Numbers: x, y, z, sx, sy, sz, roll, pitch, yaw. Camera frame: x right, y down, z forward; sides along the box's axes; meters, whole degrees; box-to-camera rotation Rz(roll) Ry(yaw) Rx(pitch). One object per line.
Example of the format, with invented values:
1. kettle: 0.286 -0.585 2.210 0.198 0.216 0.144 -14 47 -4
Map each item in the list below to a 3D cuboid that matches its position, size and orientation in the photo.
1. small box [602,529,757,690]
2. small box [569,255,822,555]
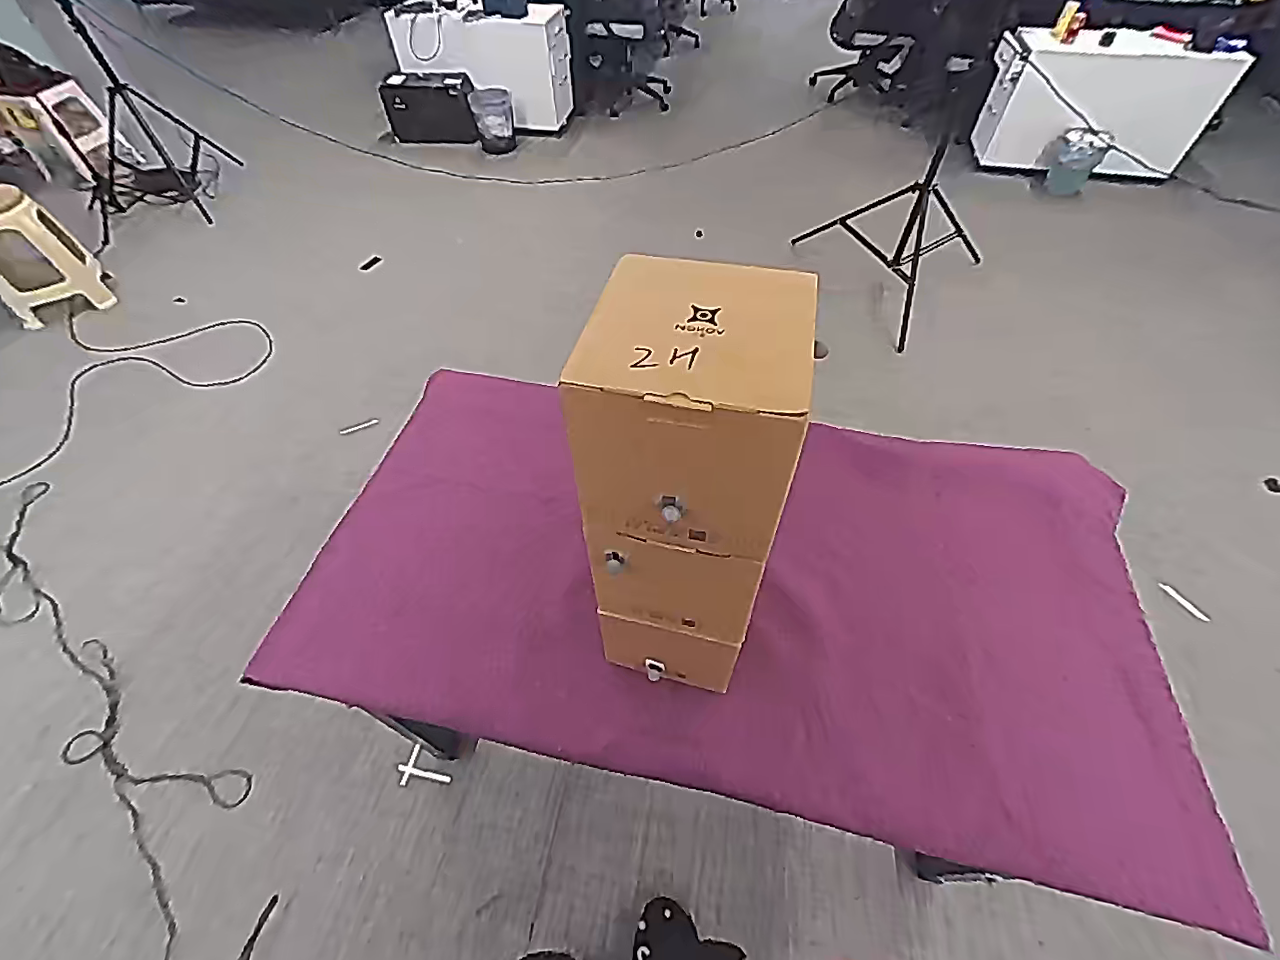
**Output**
1. small box: 0.056 0.150 0.714 0.168 0.176 0.179 11 53 10
2. small box: 0.050 -0.064 0.463 0.168 0.176 0.179 10 51 10
